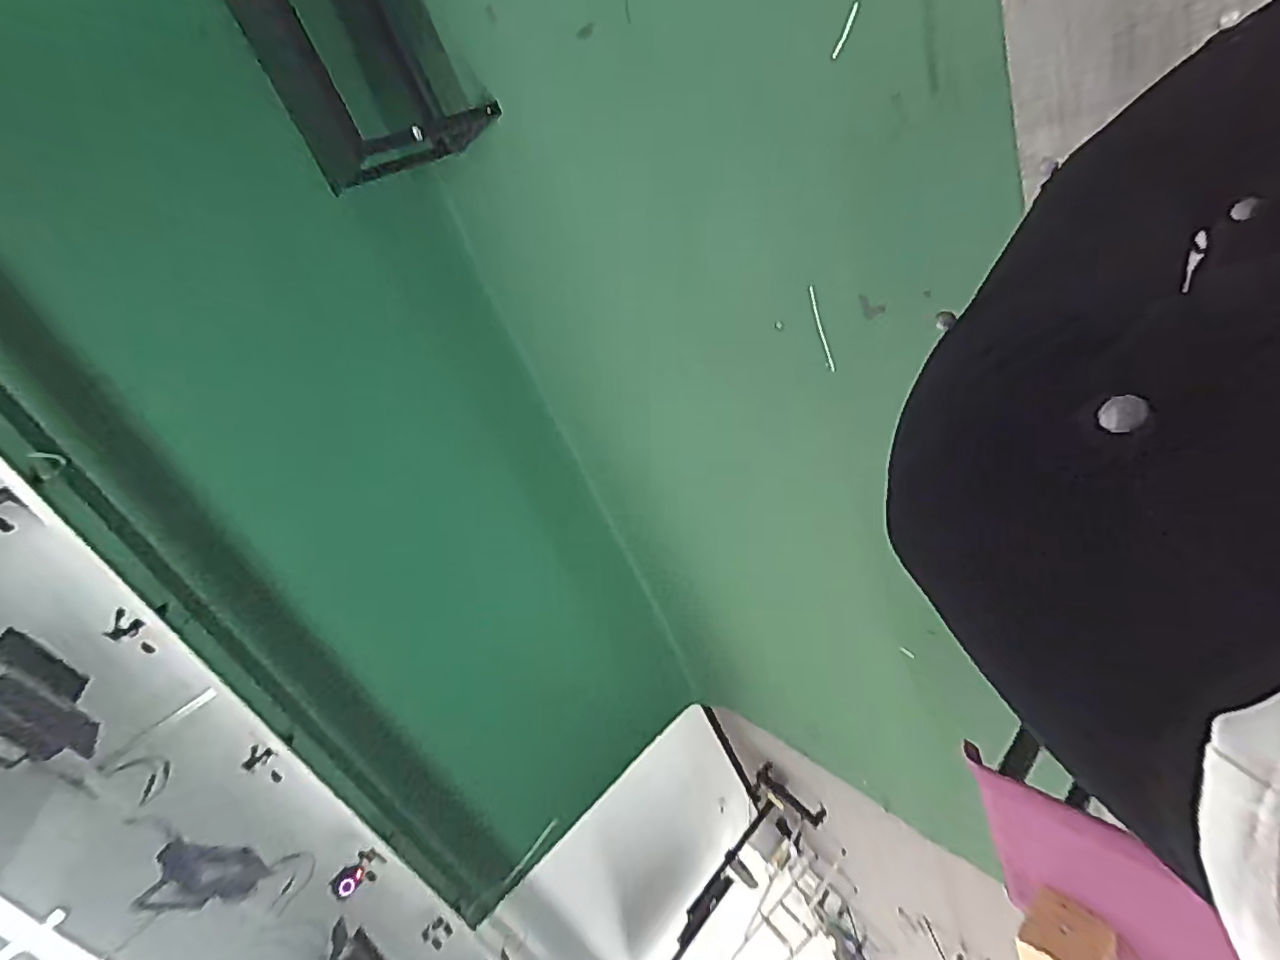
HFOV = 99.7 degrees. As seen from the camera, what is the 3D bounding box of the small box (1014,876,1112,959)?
[{"bbox_3d":[1.132,1.223,1.447,0.168,0.176,0.179,11,130,54],"label":"small box"}]
